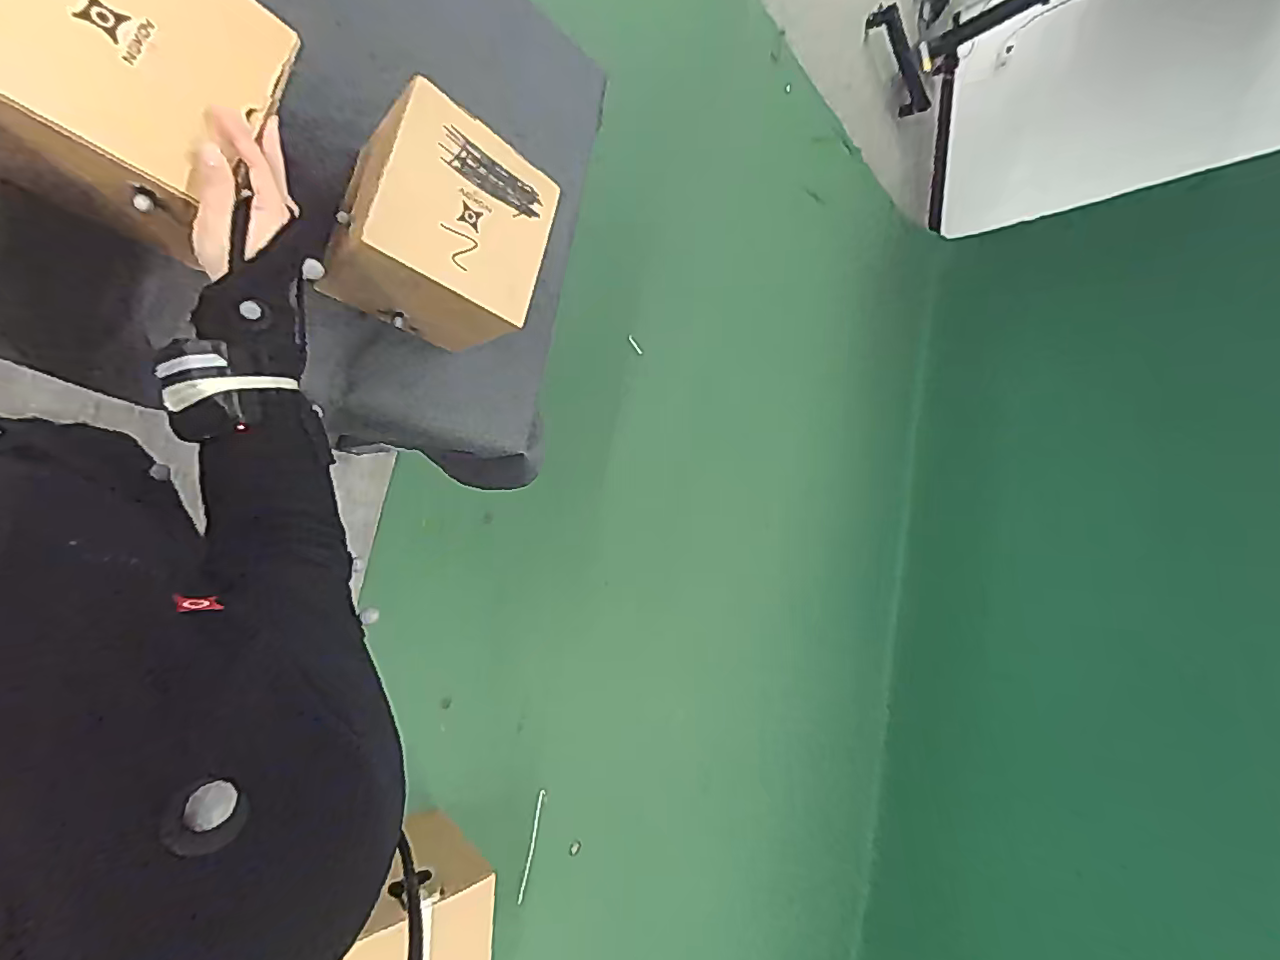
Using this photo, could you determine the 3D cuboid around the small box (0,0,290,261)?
[{"bbox_3d":[-0.406,-0.296,0.406,0.179,0.176,0.168,25,74,-42],"label":"small box"}]
